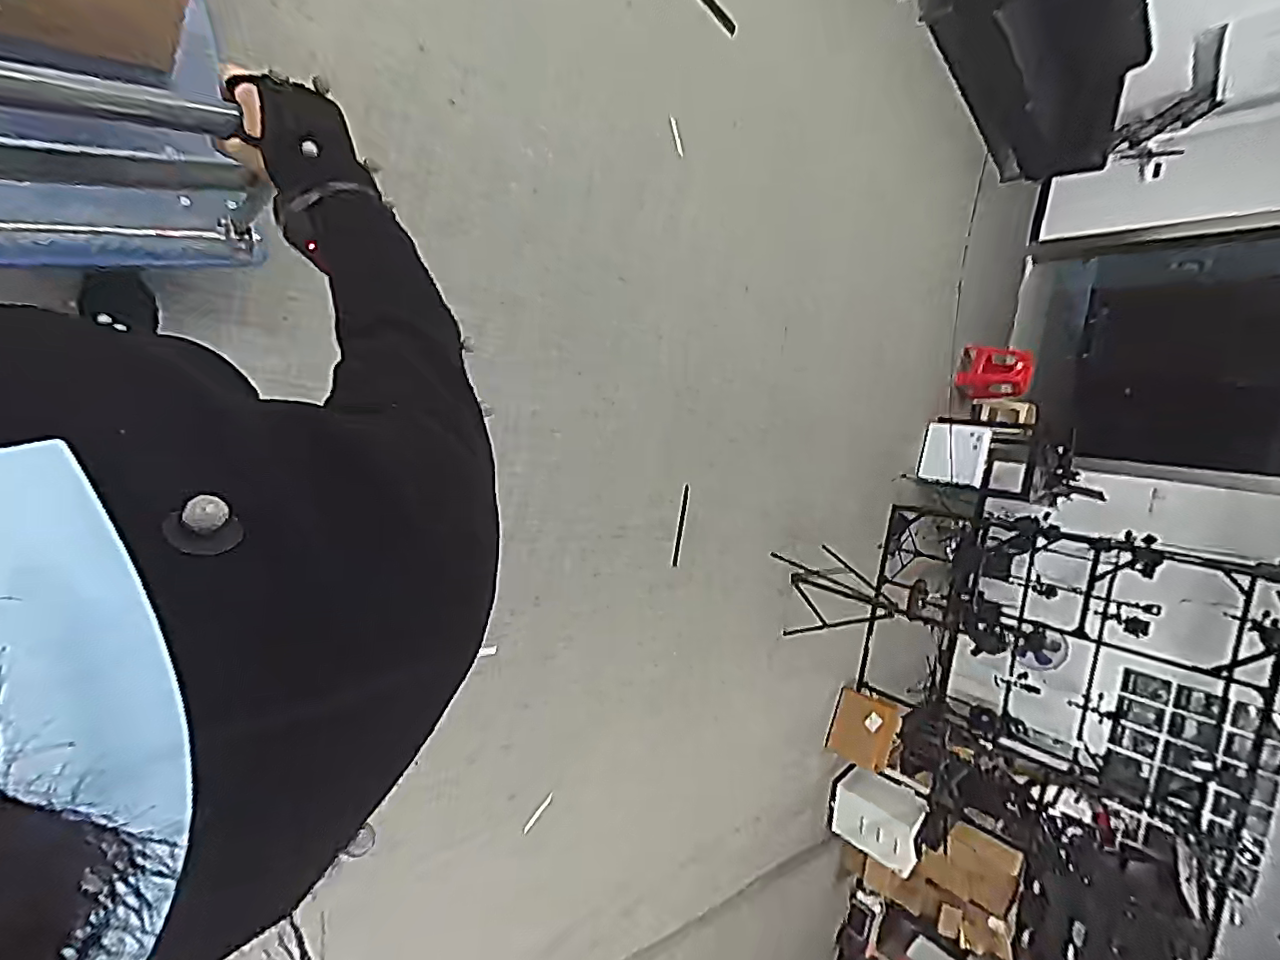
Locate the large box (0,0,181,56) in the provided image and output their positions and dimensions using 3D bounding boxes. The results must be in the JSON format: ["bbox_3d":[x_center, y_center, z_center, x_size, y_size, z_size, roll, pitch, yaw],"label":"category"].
[{"bbox_3d":[-0.865,-0.795,0.659,0.408,0.320,0.320,-18,111,-40],"label":"large box"}]
